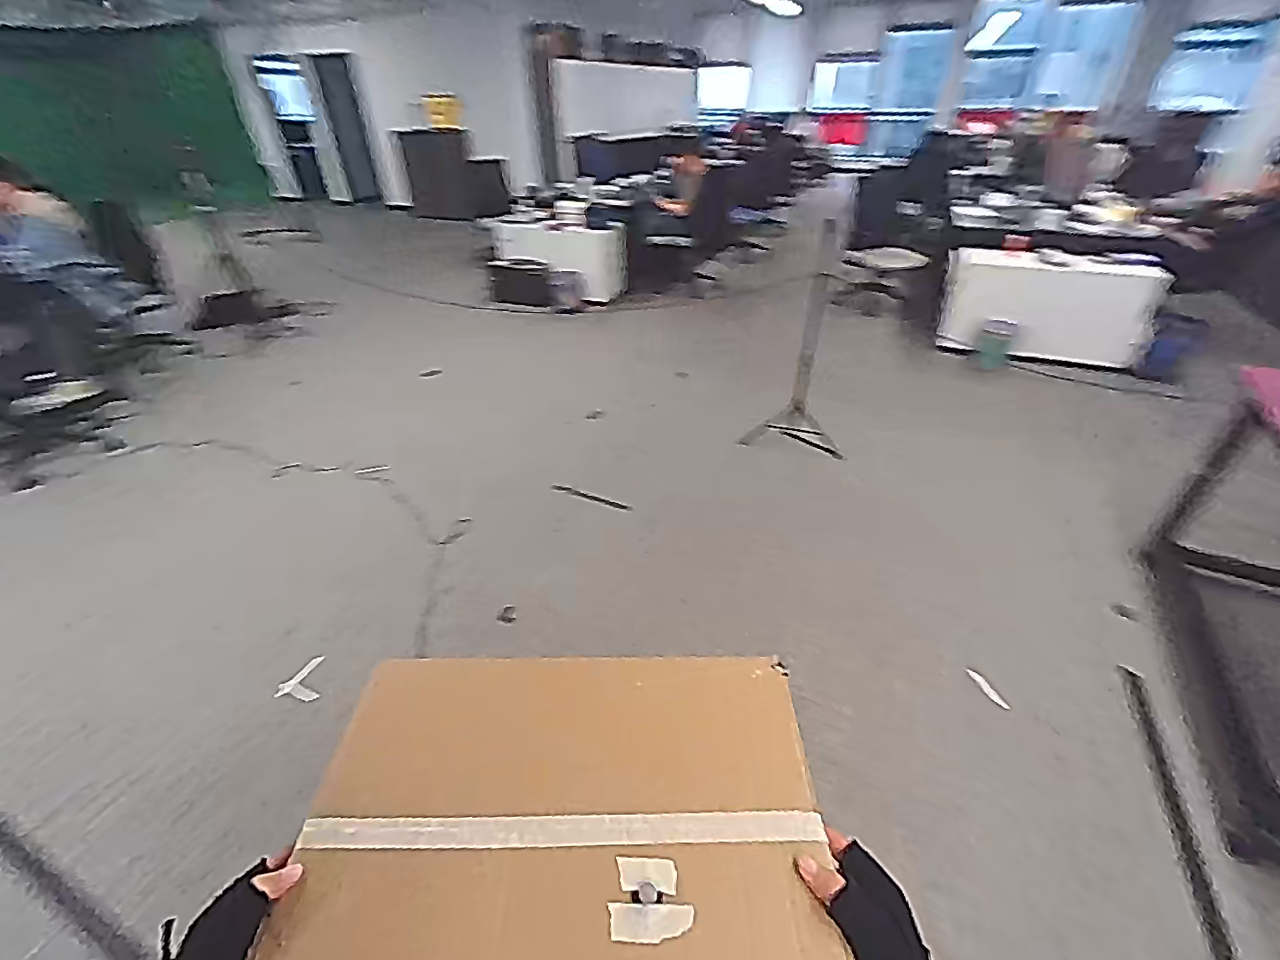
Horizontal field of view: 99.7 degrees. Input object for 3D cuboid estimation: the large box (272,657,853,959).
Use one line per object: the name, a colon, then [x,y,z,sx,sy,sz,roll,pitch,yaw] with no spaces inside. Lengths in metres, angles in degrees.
large box: [-0.054,0.394,0.524,0.408,0.320,0.320,1,38,0]
